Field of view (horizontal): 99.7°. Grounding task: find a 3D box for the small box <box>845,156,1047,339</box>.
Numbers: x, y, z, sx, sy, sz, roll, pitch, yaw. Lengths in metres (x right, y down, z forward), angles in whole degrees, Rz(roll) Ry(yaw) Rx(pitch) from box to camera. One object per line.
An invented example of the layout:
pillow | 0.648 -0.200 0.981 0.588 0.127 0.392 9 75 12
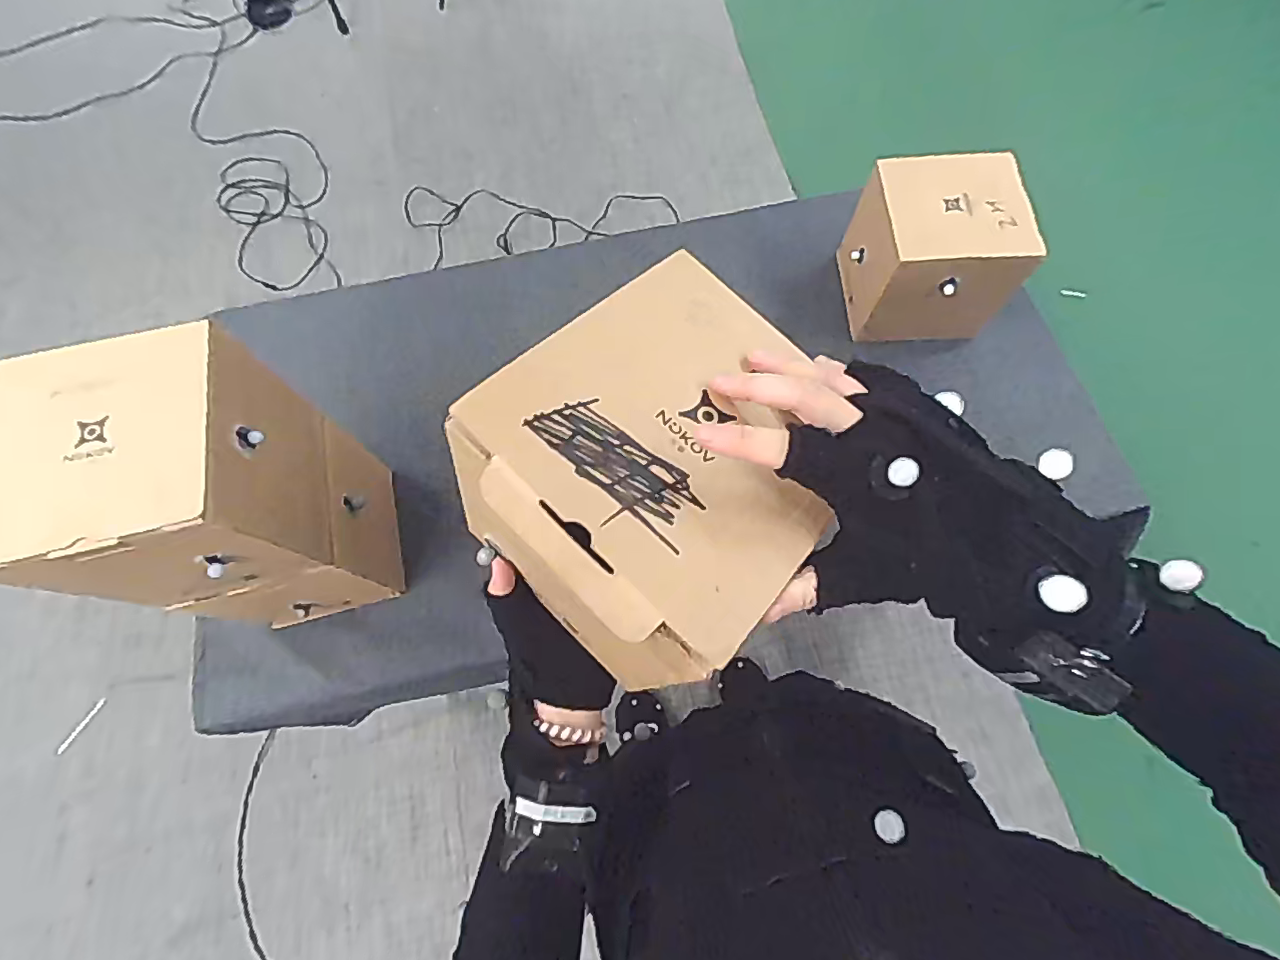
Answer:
small box | 0.393 -0.306 0.736 0.179 0.176 0.168 -1 71 1

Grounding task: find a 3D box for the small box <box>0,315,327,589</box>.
small box | -0.398 -0.009 0.472 0.168 0.176 0.179 -12 70 -5

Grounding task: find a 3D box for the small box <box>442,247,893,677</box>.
small box | 0.008 0.003 0.339 0.168 0.176 0.179 44 65 6

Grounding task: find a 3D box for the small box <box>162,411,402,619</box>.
small box | -0.396 0.048 0.625 0.168 0.176 0.179 -14 70 -4
